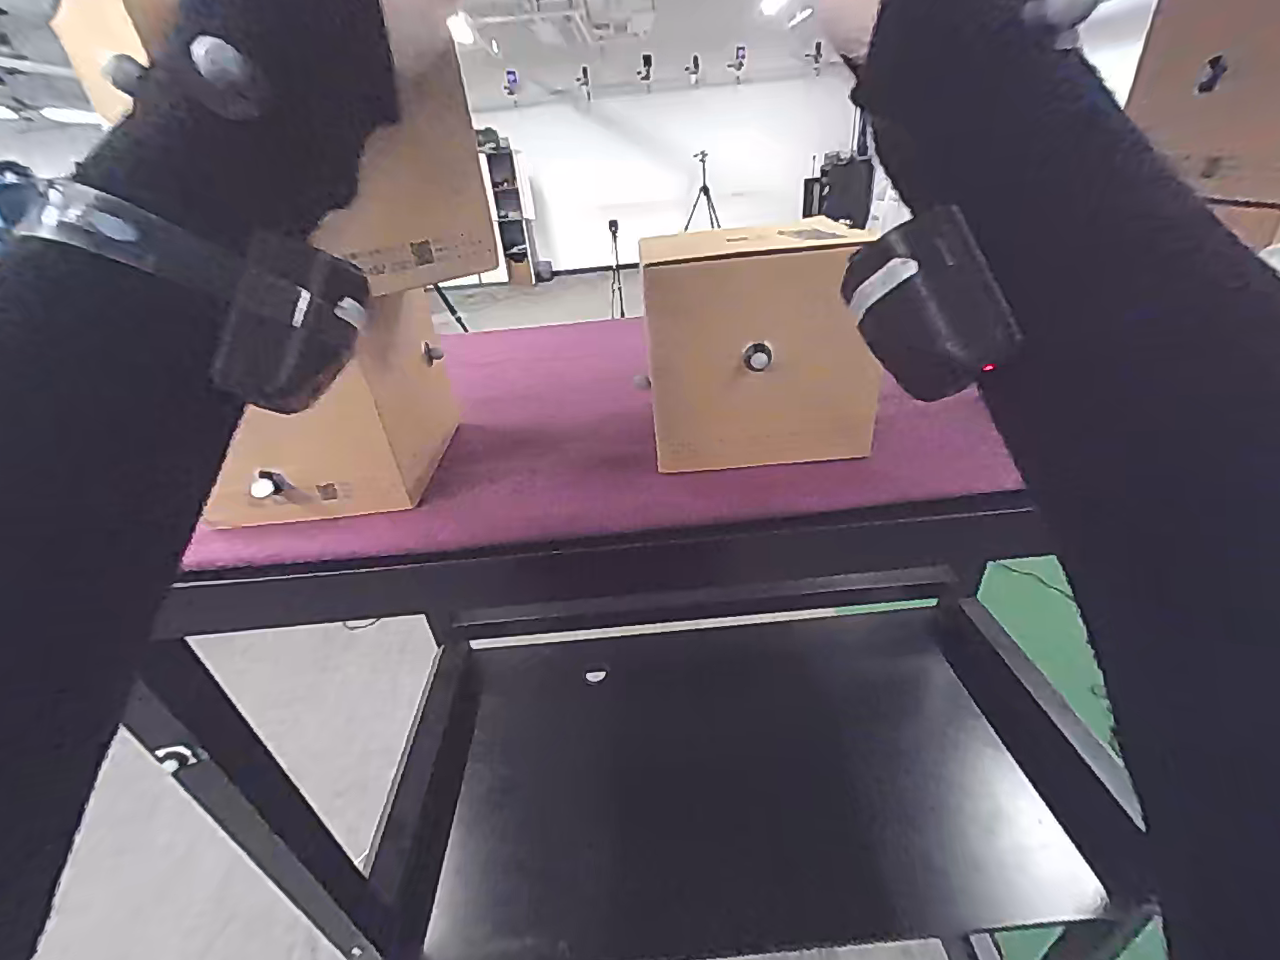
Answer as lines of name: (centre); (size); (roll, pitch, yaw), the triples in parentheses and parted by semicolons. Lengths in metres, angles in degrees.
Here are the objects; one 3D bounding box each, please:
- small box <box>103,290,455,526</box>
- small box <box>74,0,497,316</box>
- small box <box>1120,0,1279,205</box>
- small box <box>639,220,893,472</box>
small box: (-0.274, -0.080, 0.468); (0.168, 0.176, 0.179); (-6, 30, -1)
small box: (-0.225, -0.216, 0.369); (0.179, 0.176, 0.168); (20, 40, 38)
small box: (0.501, -0.301, 0.387); (0.179, 0.176, 0.168); (-6, 32, 1)
small box: (0.093, -0.121, 0.475); (0.179, 0.176, 0.168); (-5, 30, 3)
